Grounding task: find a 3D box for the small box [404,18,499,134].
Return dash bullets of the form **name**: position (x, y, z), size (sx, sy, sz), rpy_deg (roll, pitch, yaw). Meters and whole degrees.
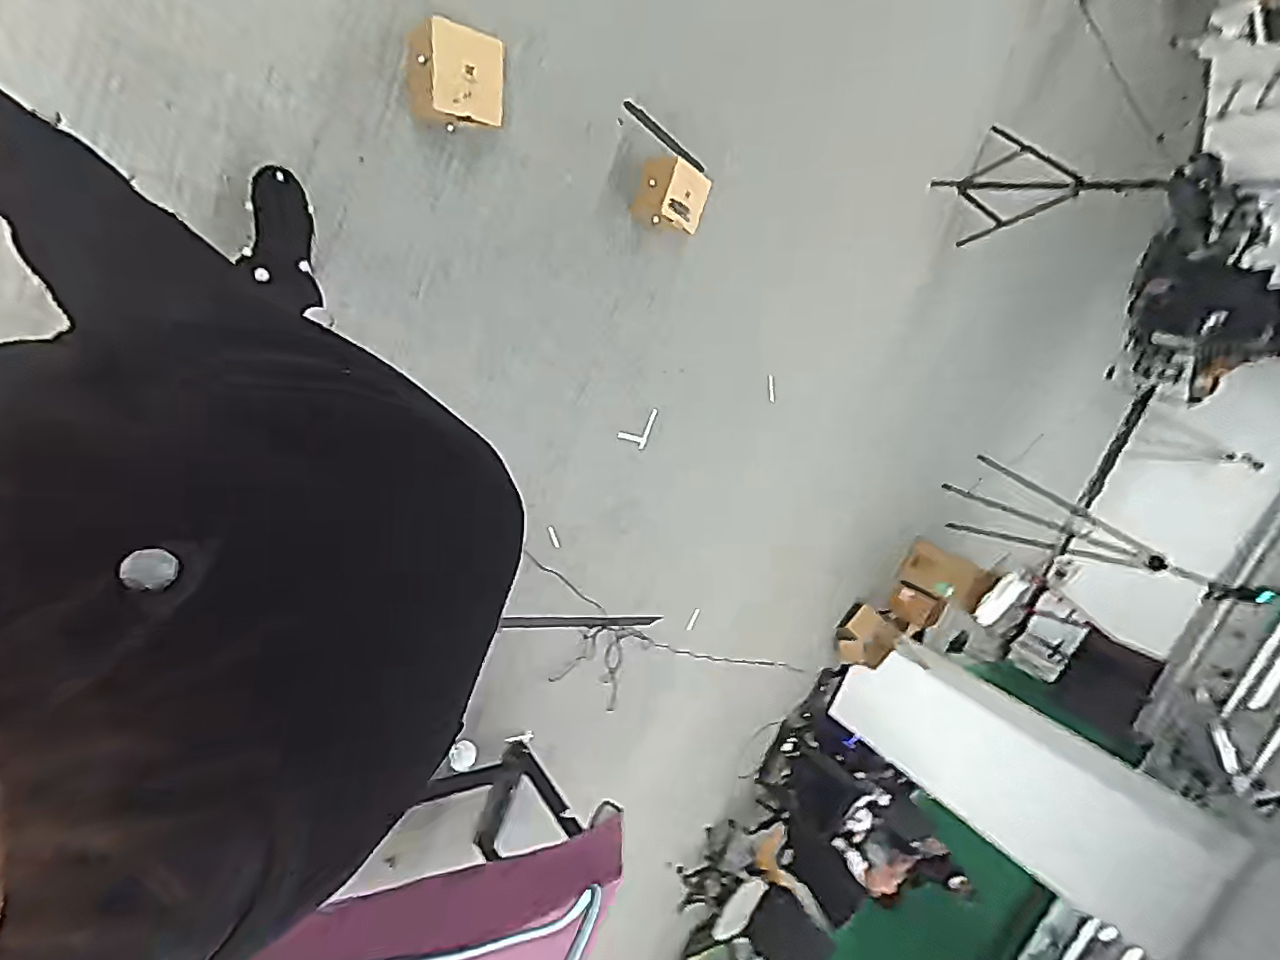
- **small box**: position (-0.450, -0.945, 1.284), size (0.168, 0.176, 0.179), rpy_deg (-12, 119, -38)
